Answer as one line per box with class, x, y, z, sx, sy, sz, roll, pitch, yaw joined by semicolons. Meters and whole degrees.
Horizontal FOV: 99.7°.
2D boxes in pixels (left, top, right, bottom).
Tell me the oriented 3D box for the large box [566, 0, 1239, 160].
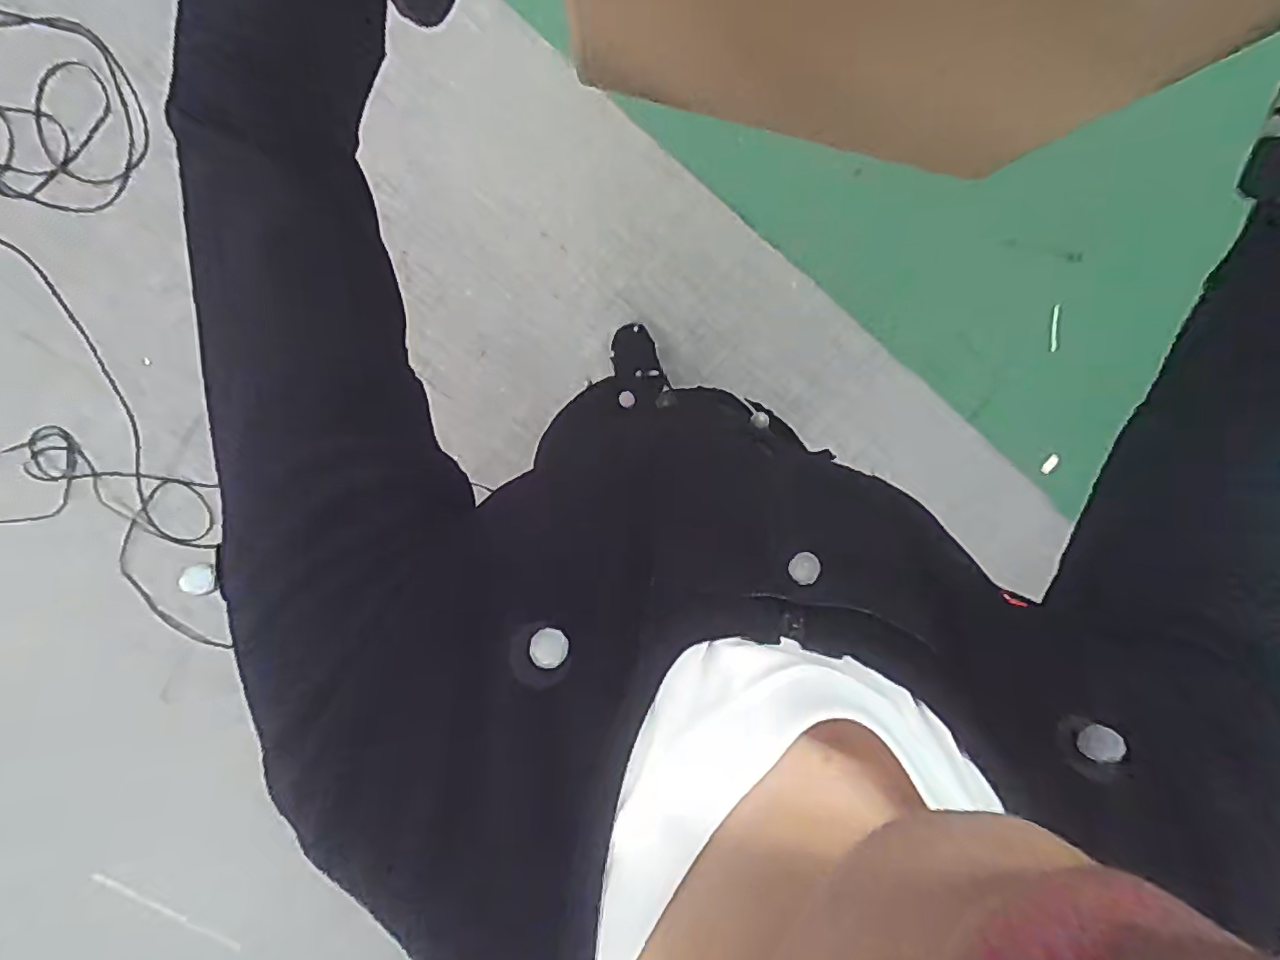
large box;0.164;-0.462;0.351;0.408;0.320;0.320;10;103;-5
